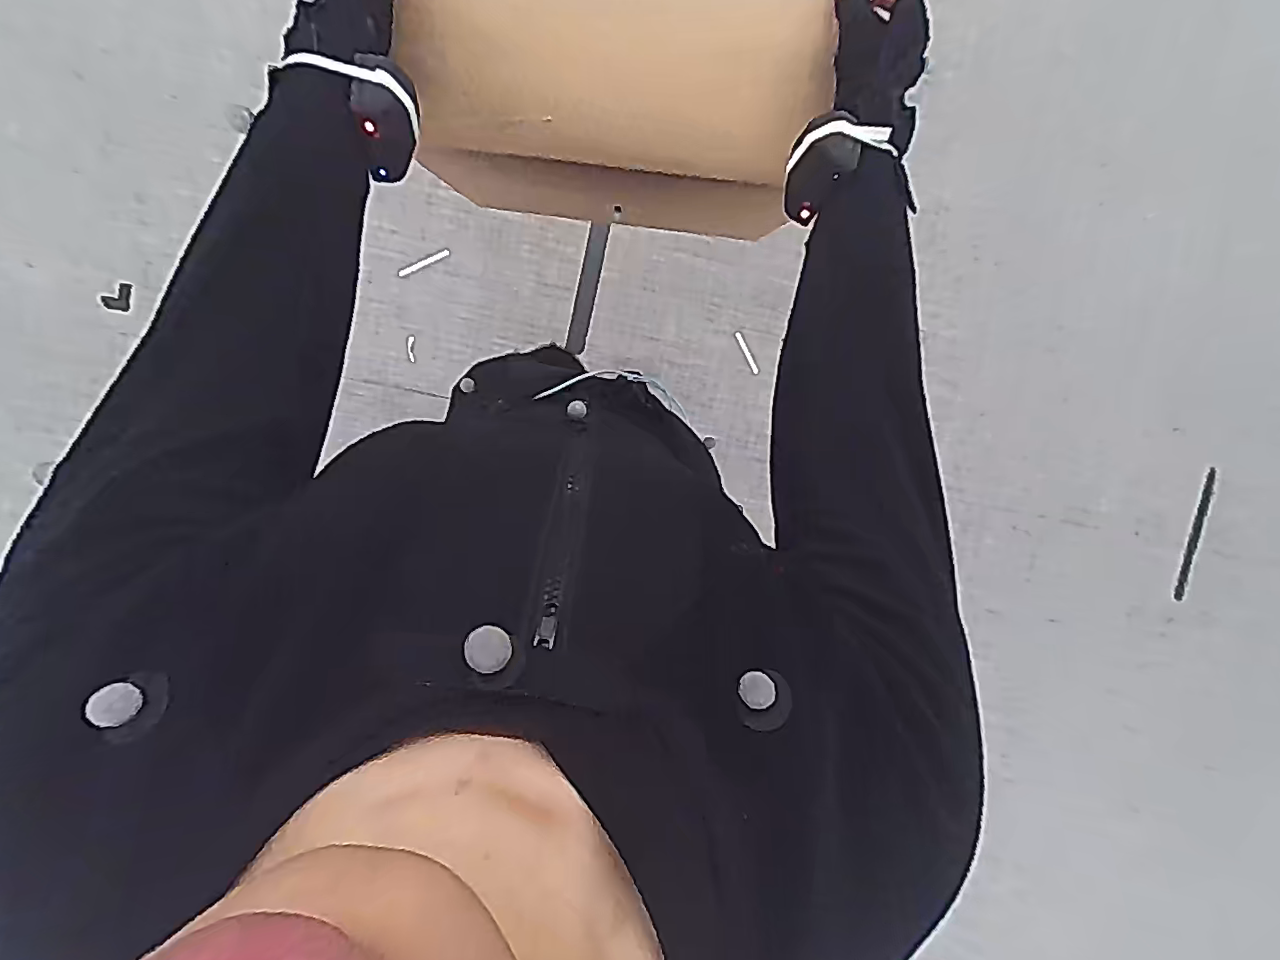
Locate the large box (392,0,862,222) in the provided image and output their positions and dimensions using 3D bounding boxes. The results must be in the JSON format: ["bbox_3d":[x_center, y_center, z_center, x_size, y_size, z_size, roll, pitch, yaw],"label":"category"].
[{"bbox_3d":[-0.007,-0.483,0.588,0.408,0.320,0.320,5,106,-3],"label":"large box"}]
